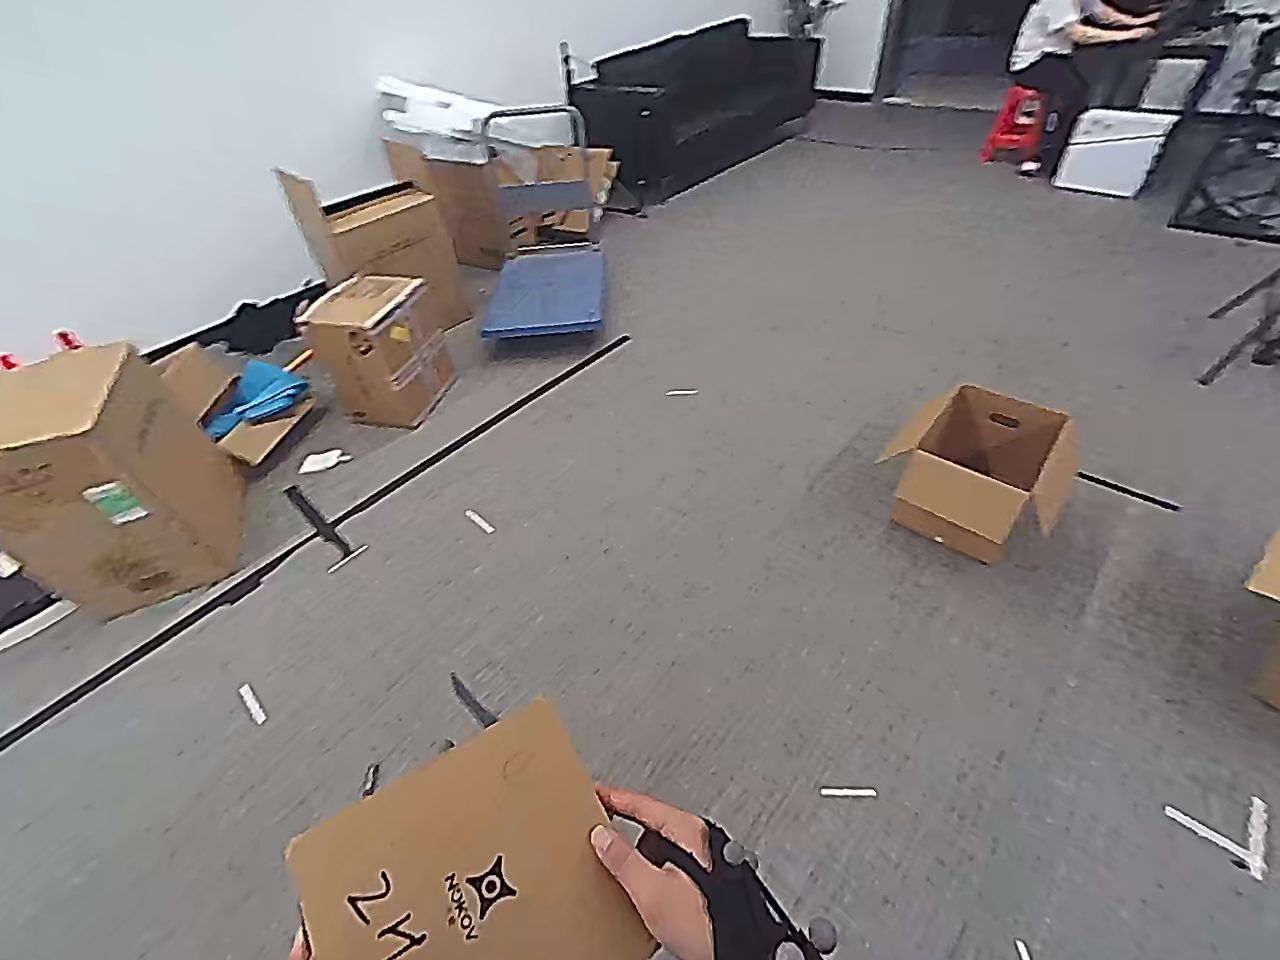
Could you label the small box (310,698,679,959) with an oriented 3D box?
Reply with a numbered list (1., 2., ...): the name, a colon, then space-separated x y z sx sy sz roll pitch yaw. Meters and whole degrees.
1. small box: -0.101 0.291 0.393 0.179 0.176 0.168 -23 62 -23
